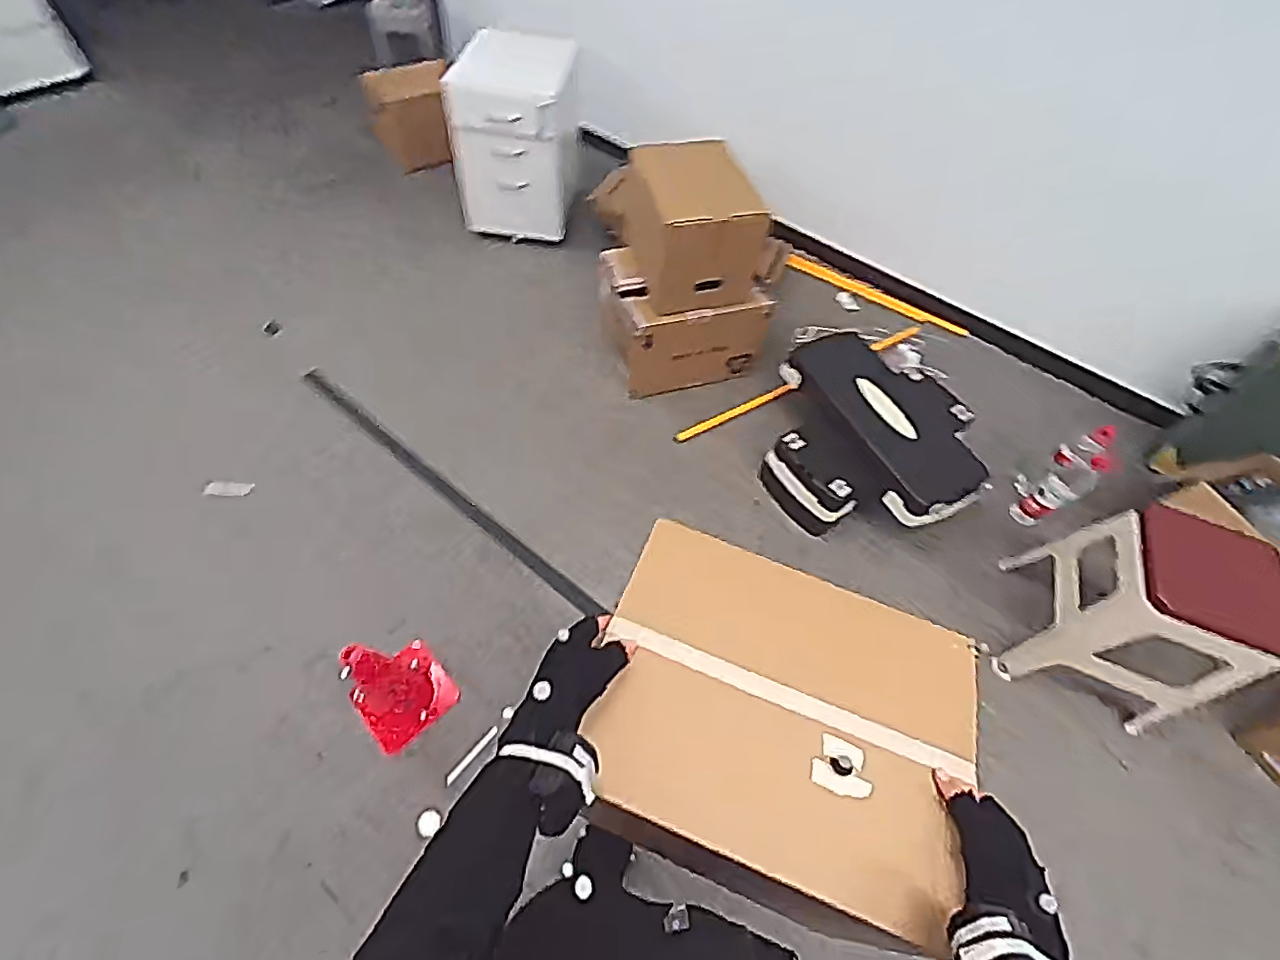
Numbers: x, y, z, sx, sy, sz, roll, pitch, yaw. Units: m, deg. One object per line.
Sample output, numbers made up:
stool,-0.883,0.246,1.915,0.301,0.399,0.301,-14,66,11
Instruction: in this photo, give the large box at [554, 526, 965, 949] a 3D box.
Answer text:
large box,0.131,0.322,0.702,0.408,0.320,0.320,21,54,7

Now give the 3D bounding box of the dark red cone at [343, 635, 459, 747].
dark red cone,-0.553,0.415,1.165,0.202,0.394,0.201,-38,69,-25
